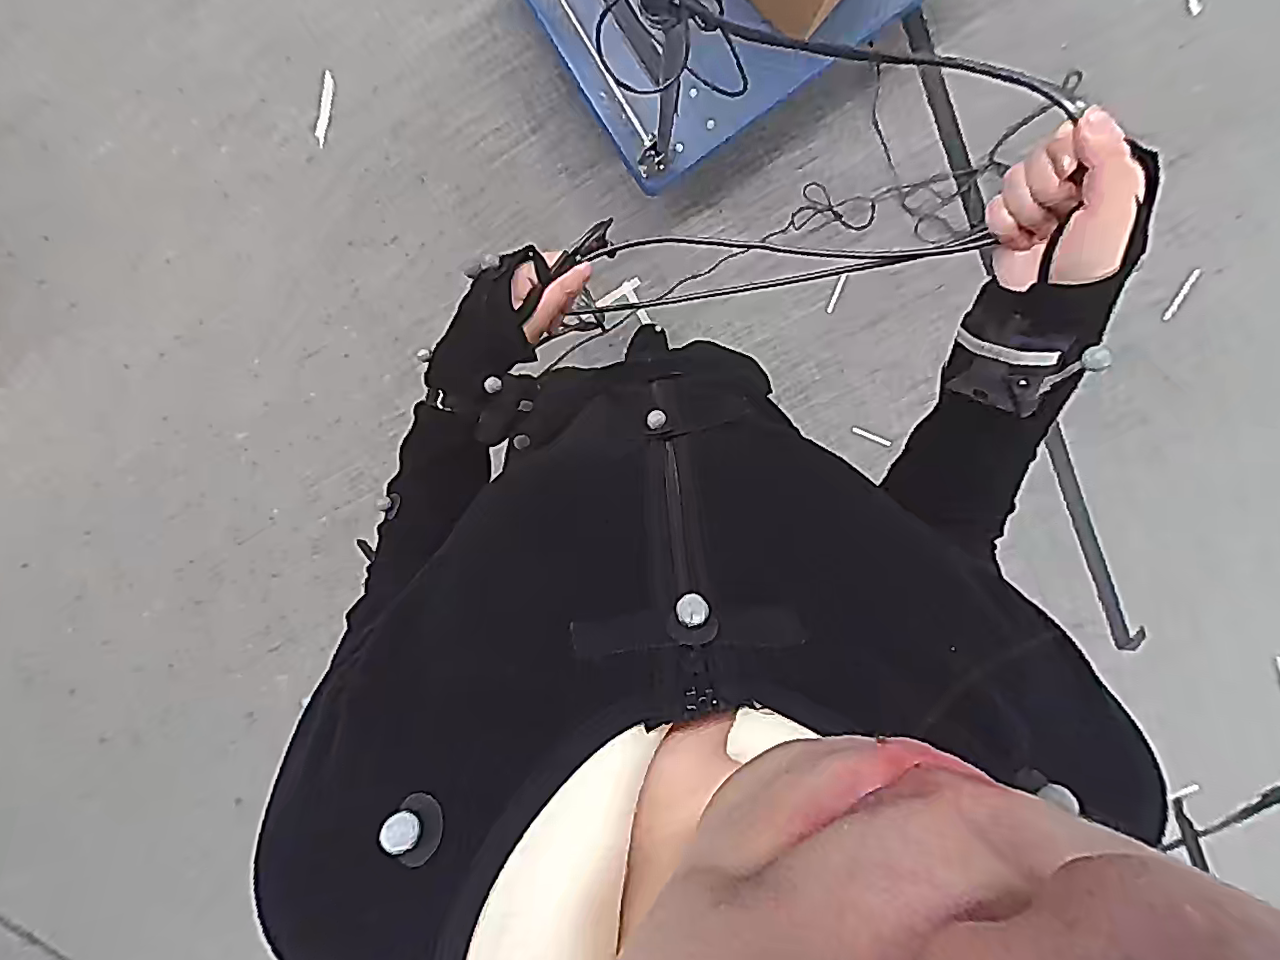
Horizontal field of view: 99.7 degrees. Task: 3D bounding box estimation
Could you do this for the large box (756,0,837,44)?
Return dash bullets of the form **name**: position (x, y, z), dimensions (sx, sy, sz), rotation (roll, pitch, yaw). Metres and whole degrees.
- **large box**: position (0.276, -1.079, 0.898), dimensions (0.408, 0.320, 0.320), rotation (40, 101, -11)
